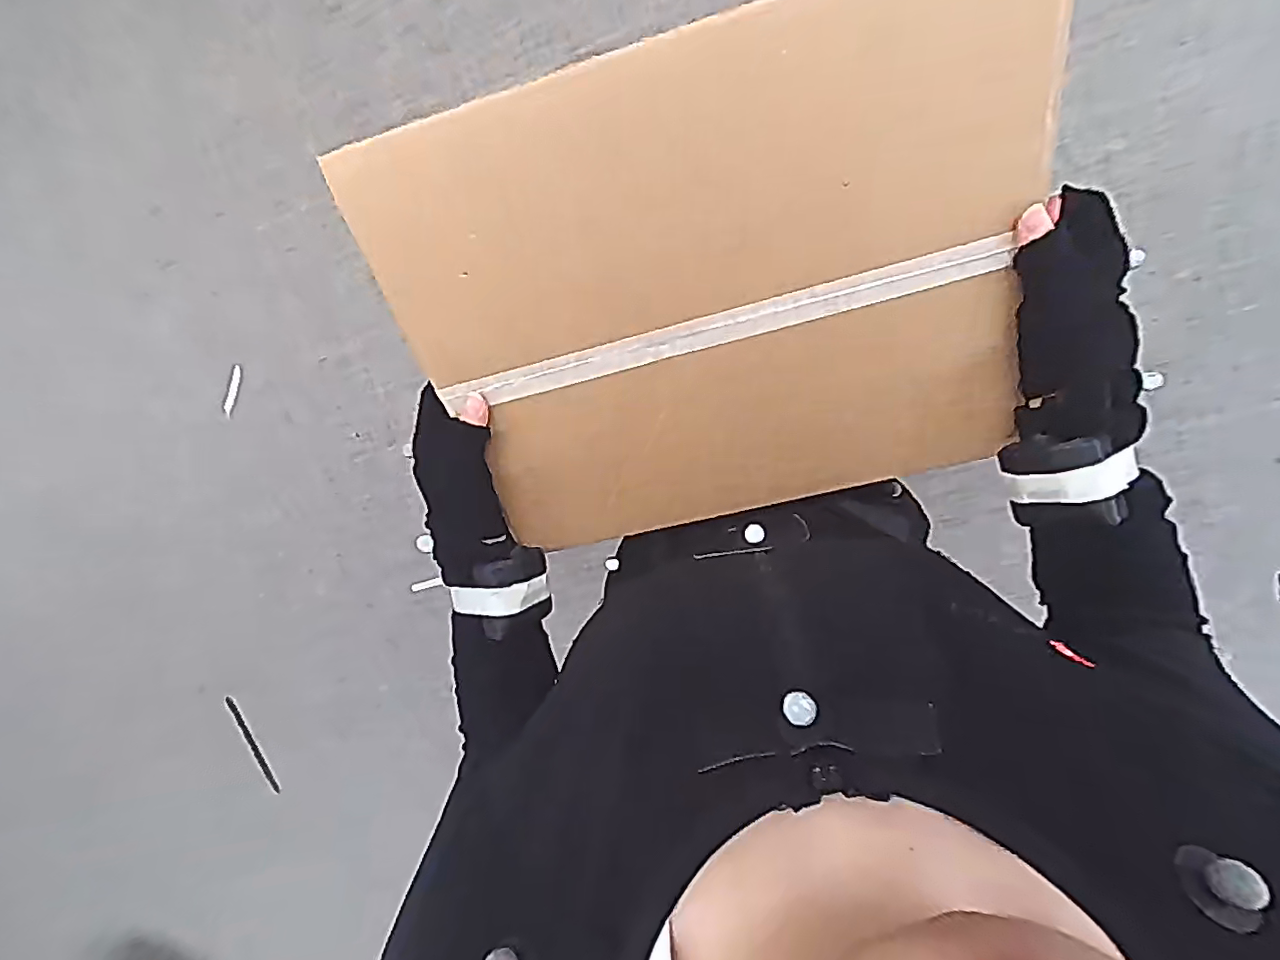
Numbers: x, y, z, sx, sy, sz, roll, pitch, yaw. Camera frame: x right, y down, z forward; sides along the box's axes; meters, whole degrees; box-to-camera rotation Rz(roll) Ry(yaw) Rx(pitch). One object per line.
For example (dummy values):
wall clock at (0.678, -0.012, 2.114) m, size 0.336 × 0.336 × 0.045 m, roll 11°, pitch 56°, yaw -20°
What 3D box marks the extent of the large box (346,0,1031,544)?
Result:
large box at (0.049, -0.192, 0.501) m, size 0.408 × 0.320 × 0.320 m, roll -13°, pitch 123°, yaw 9°
